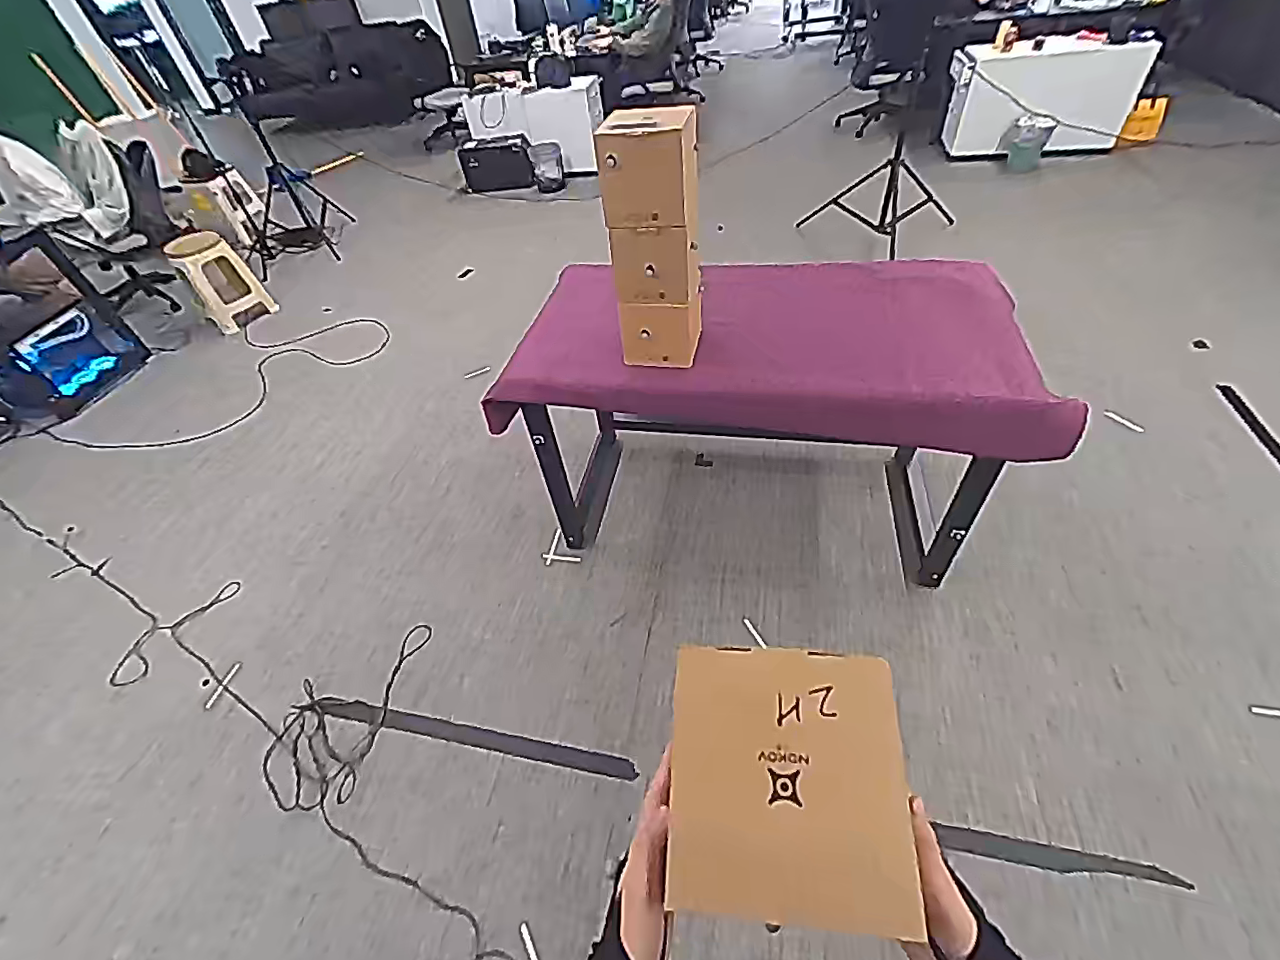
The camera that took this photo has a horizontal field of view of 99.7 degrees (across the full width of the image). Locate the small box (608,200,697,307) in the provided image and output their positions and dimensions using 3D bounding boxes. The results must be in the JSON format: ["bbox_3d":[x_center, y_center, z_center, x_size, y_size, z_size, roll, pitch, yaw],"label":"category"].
[{"bbox_3d":[0.036,-0.500,1.203,0.168,0.176,0.179,4,47,11],"label":"small box"}]

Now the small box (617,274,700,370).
[{"bbox_3d":[0.053,-0.383,1.316,0.168,0.176,0.179,6,47,13],"label":"small box"}]

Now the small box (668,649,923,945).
[{"bbox_3d":[0.117,0.257,0.461,0.168,0.176,0.179,1,58,8],"label":"small box"}]
